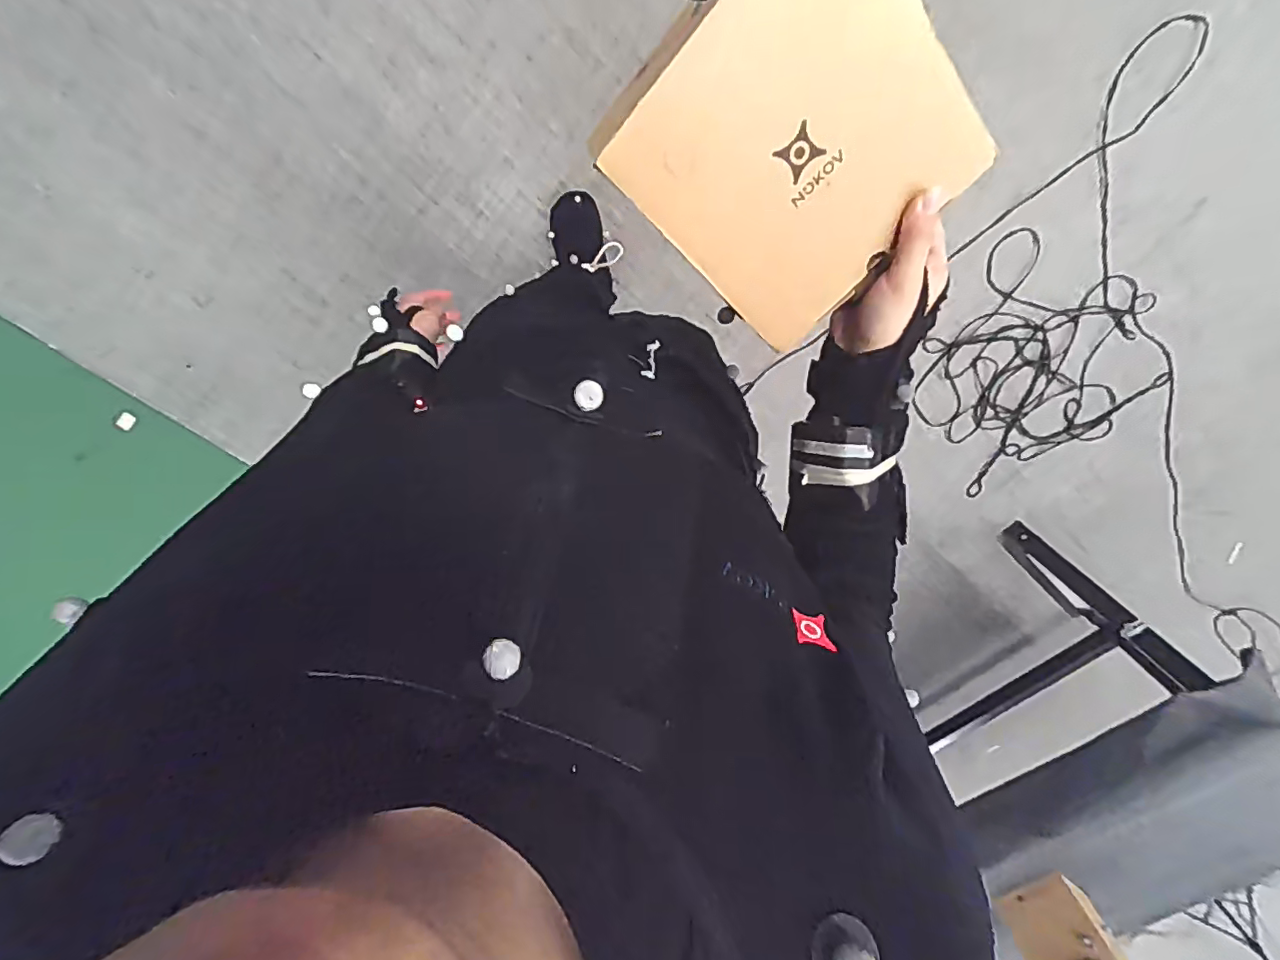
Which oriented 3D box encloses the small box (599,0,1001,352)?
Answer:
[{"bbox_3d":[0.087,-0.227,0.371,0.179,0.176,0.168,34,114,-29],"label":"small box"}]
